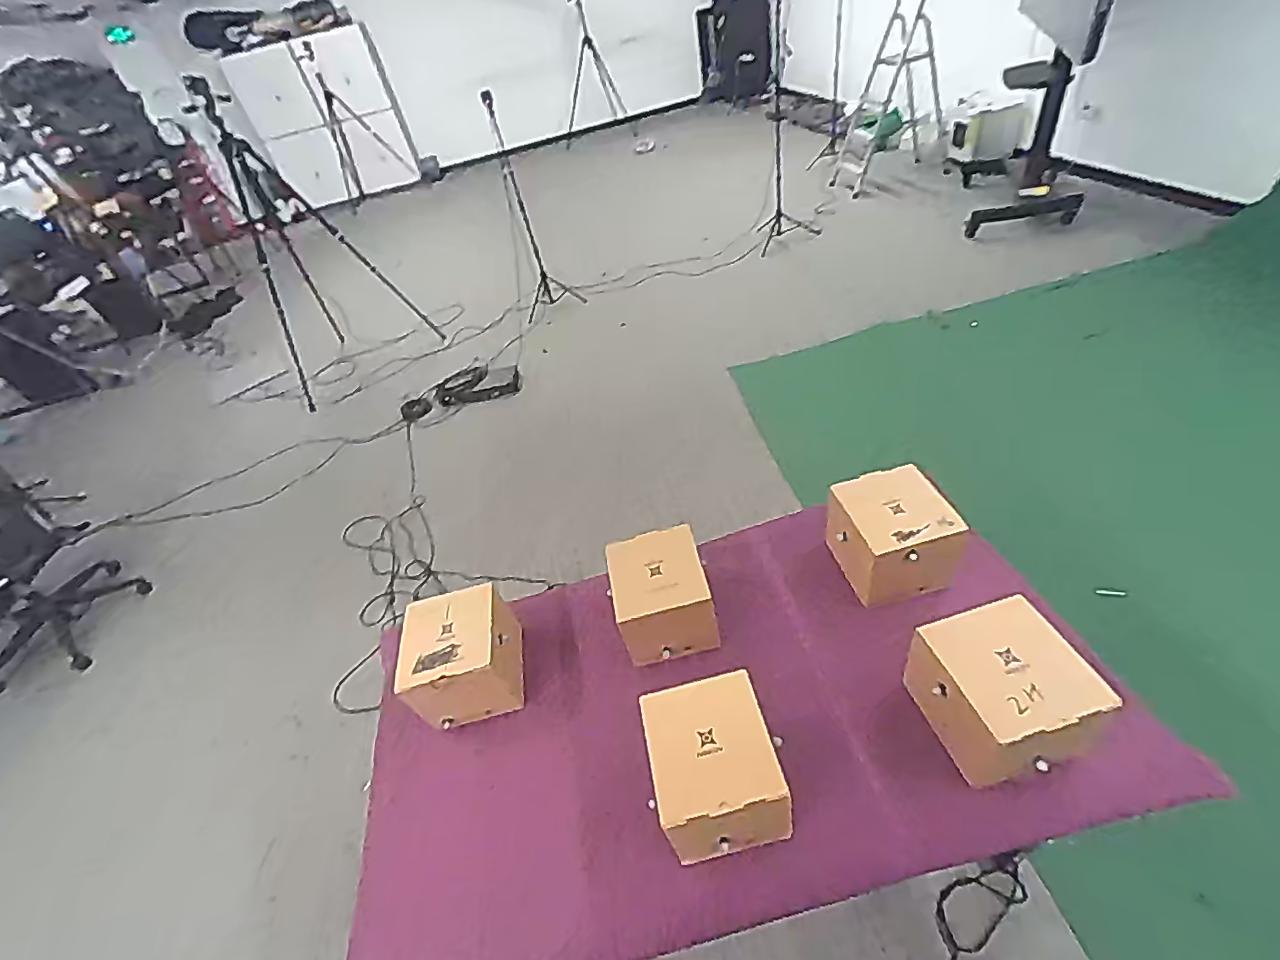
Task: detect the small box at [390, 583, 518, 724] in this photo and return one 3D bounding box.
[{"bbox_3d":[-0.327,0.322,0.983,0.168,0.176,0.179,-14,44,-2],"label":"small box"}]

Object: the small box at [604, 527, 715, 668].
[{"bbox_3d":[0.036,0.219,1.006,0.168,0.176,0.179,-14,45,1],"label":"small box"}]

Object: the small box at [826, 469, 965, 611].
[{"bbox_3d":[0.459,0.112,1.008,0.168,0.176,0.179,-15,43,-1],"label":"small box"}]

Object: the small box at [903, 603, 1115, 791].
[{"bbox_3d":[0.510,0.314,0.783,0.168,0.176,0.179,-17,43,-1],"label":"small box"}]

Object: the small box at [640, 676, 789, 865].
[{"bbox_3d":[0.103,0.419,0.782,0.168,0.176,0.179,-14,43,-1],"label":"small box"}]
